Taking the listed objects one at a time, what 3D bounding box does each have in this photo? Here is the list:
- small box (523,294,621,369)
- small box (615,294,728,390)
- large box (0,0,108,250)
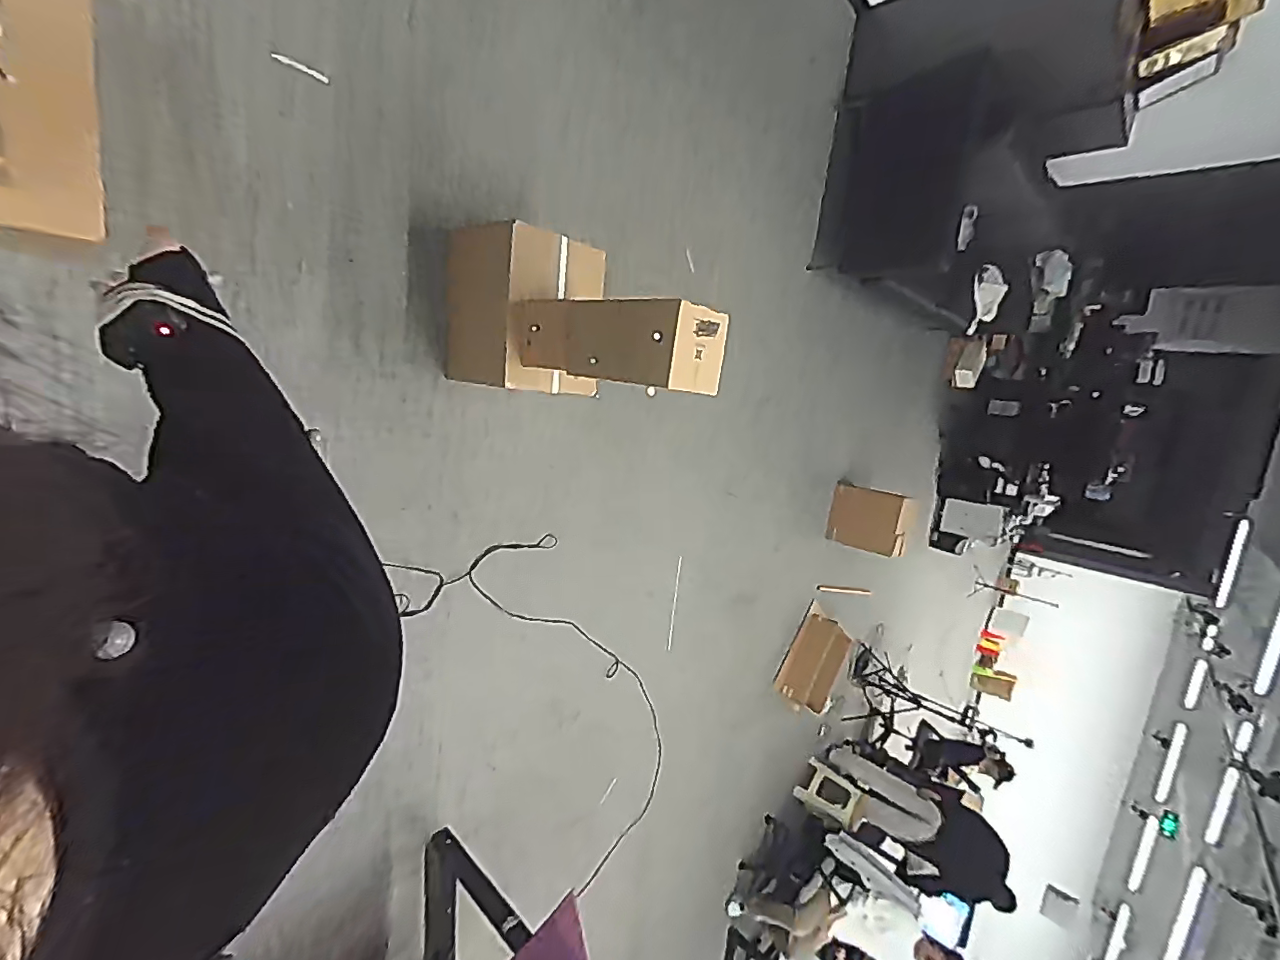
[{"bbox_3d":[-0.175,-0.380,1.383,0.179,0.176,0.168,-7,107,-45],"label":"small box"},{"bbox_3d":[0.064,-0.298,1.171,0.168,0.176,0.179,-3,106,-46],"label":"small box"},{"bbox_3d":[-1.004,-0.583,0.775,0.320,0.320,0.408,-5,105,-47],"label":"large box"}]
